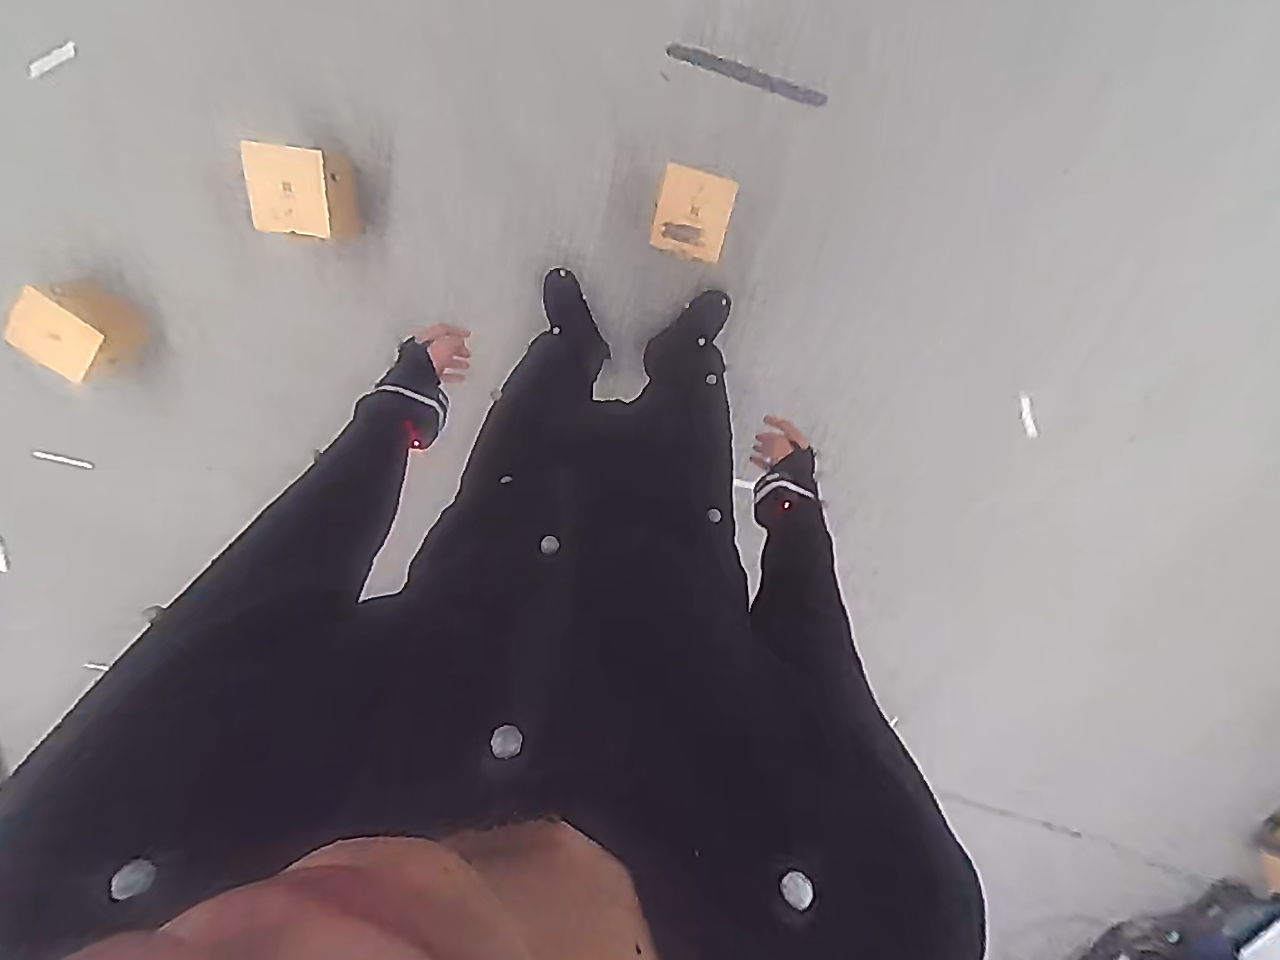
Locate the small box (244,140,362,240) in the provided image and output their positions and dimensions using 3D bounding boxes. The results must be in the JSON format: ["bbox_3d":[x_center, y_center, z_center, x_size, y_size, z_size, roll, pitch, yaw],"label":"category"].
[{"bbox_3d":[-0.760,-0.657,1.241,0.168,0.176,0.179,5,115,-5],"label":"small box"}]

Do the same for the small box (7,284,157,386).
[{"bbox_3d":[-1.372,-0.368,1.344,0.179,0.176,0.168,39,107,-18],"label":"small box"}]
